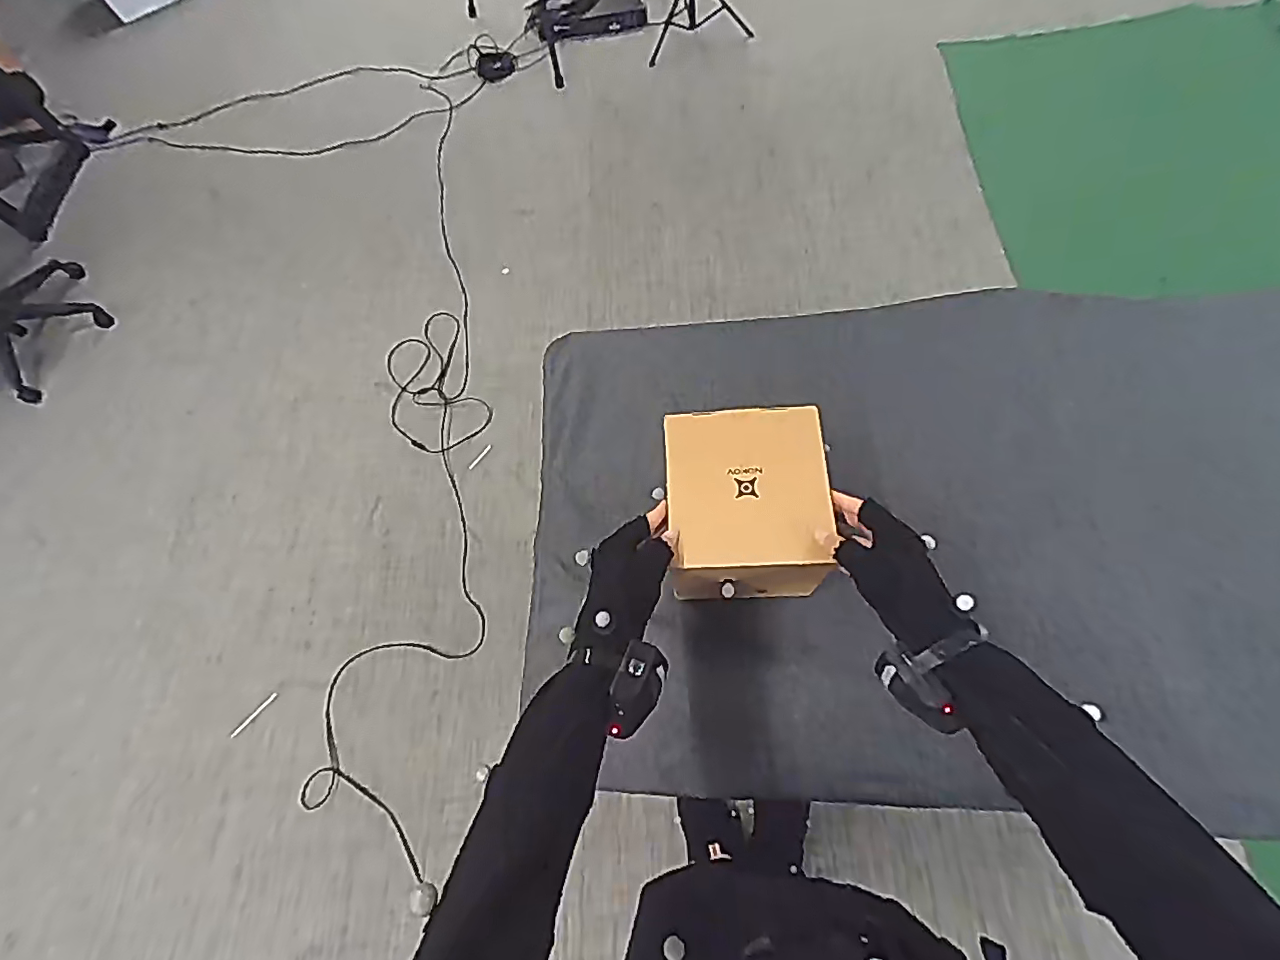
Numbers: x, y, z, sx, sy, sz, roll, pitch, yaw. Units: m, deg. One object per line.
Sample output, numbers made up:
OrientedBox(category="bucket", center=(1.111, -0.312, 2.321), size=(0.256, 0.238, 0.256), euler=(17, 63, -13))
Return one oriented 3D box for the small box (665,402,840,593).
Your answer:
OrientedBox(category="small box", center=(0.120, 0.031, 0.623), size=(0.168, 0.176, 0.179), euler=(-4, 66, 6))
